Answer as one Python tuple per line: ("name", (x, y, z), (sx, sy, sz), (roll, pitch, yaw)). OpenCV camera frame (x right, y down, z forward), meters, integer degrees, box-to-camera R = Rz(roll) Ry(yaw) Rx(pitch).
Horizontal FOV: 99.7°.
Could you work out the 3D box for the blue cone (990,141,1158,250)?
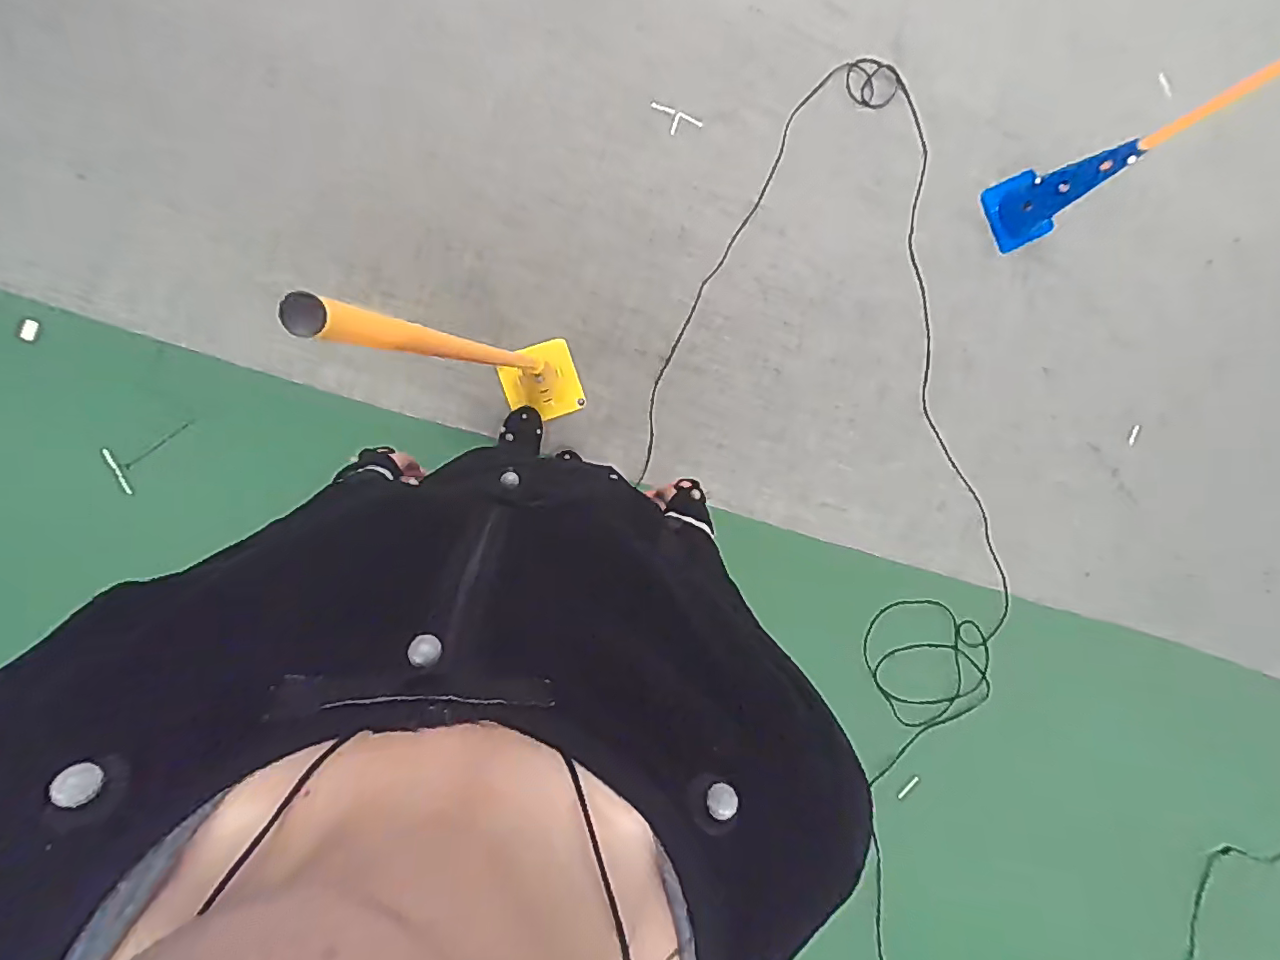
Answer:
("blue cone", (1.174, -0.801, 1.458), (0.193, 0.380, 0.192), (-28, 97, -8))
